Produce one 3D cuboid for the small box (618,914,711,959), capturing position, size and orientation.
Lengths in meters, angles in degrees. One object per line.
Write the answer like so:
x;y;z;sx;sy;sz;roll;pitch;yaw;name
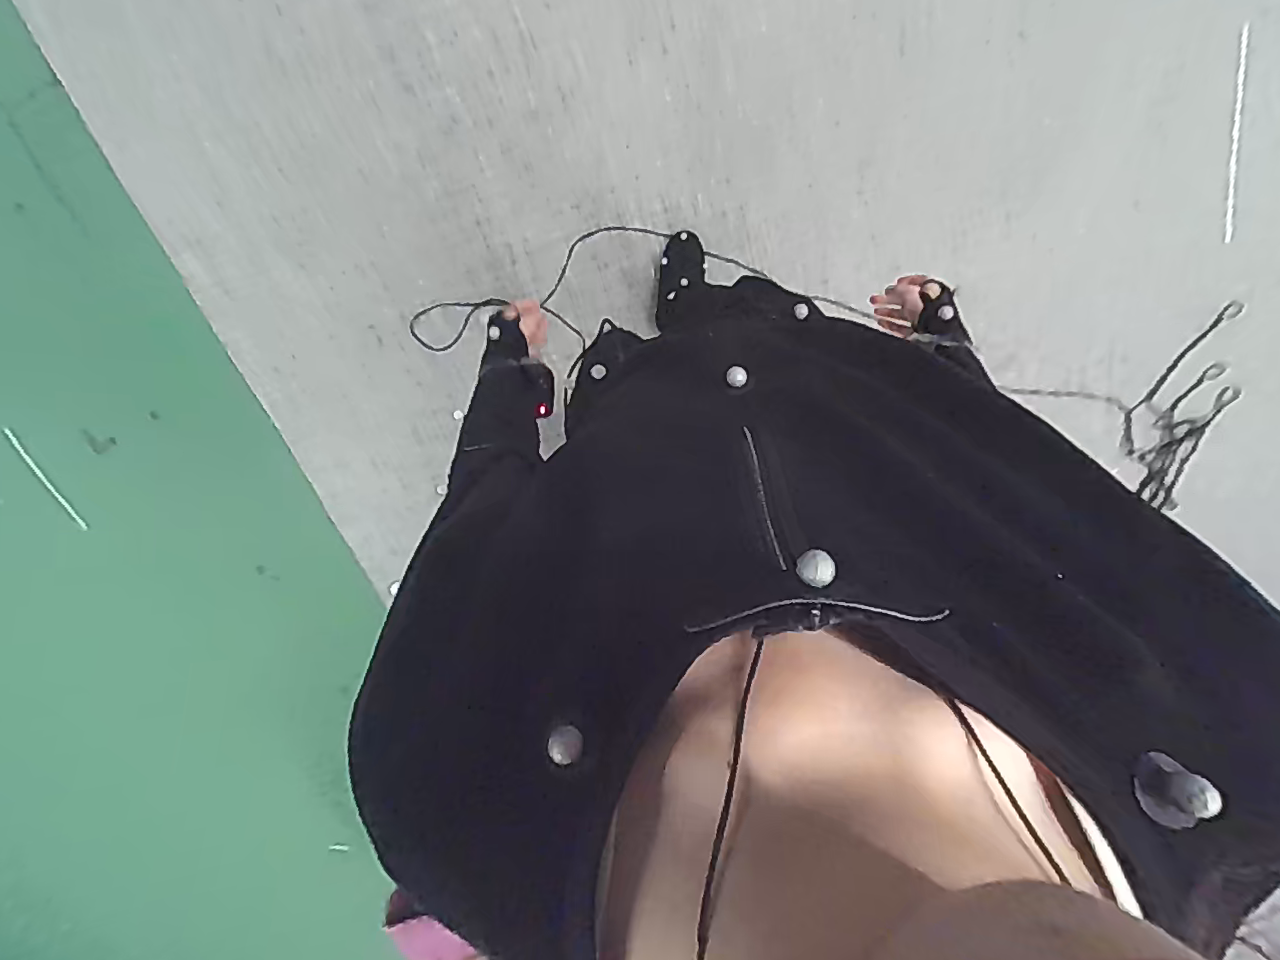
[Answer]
0.056;1.029;1.090;0.179;0.176;0.168;-18;113;4;small box
